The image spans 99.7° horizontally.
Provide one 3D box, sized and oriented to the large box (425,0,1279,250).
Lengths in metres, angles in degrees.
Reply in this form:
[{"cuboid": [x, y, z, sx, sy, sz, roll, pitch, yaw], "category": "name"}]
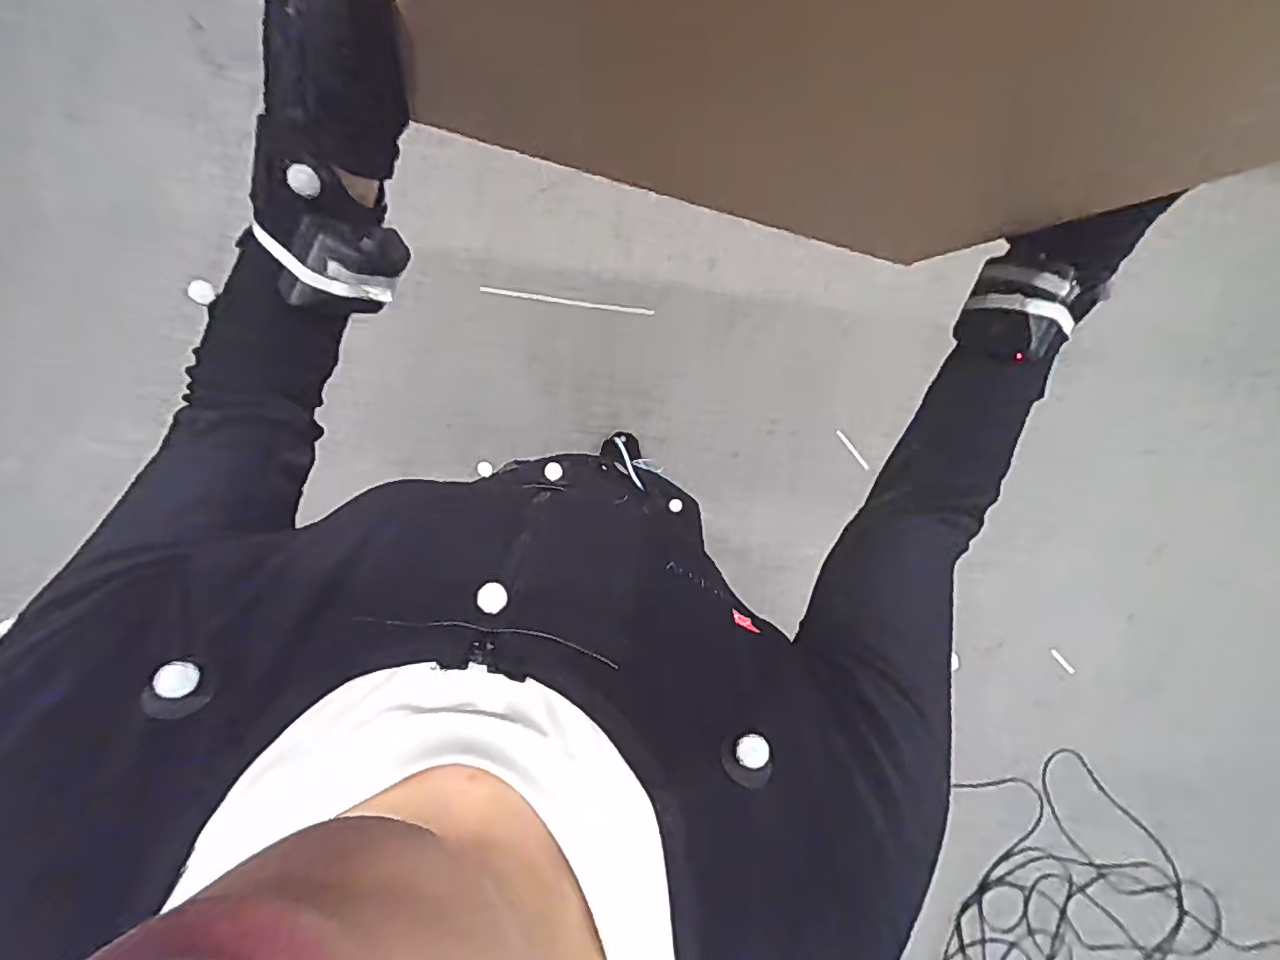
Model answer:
[{"cuboid": [0.125, -0.337, 0.245, 0.408, 0.320, 0.320, 4, 98, -23], "category": "large box"}]
